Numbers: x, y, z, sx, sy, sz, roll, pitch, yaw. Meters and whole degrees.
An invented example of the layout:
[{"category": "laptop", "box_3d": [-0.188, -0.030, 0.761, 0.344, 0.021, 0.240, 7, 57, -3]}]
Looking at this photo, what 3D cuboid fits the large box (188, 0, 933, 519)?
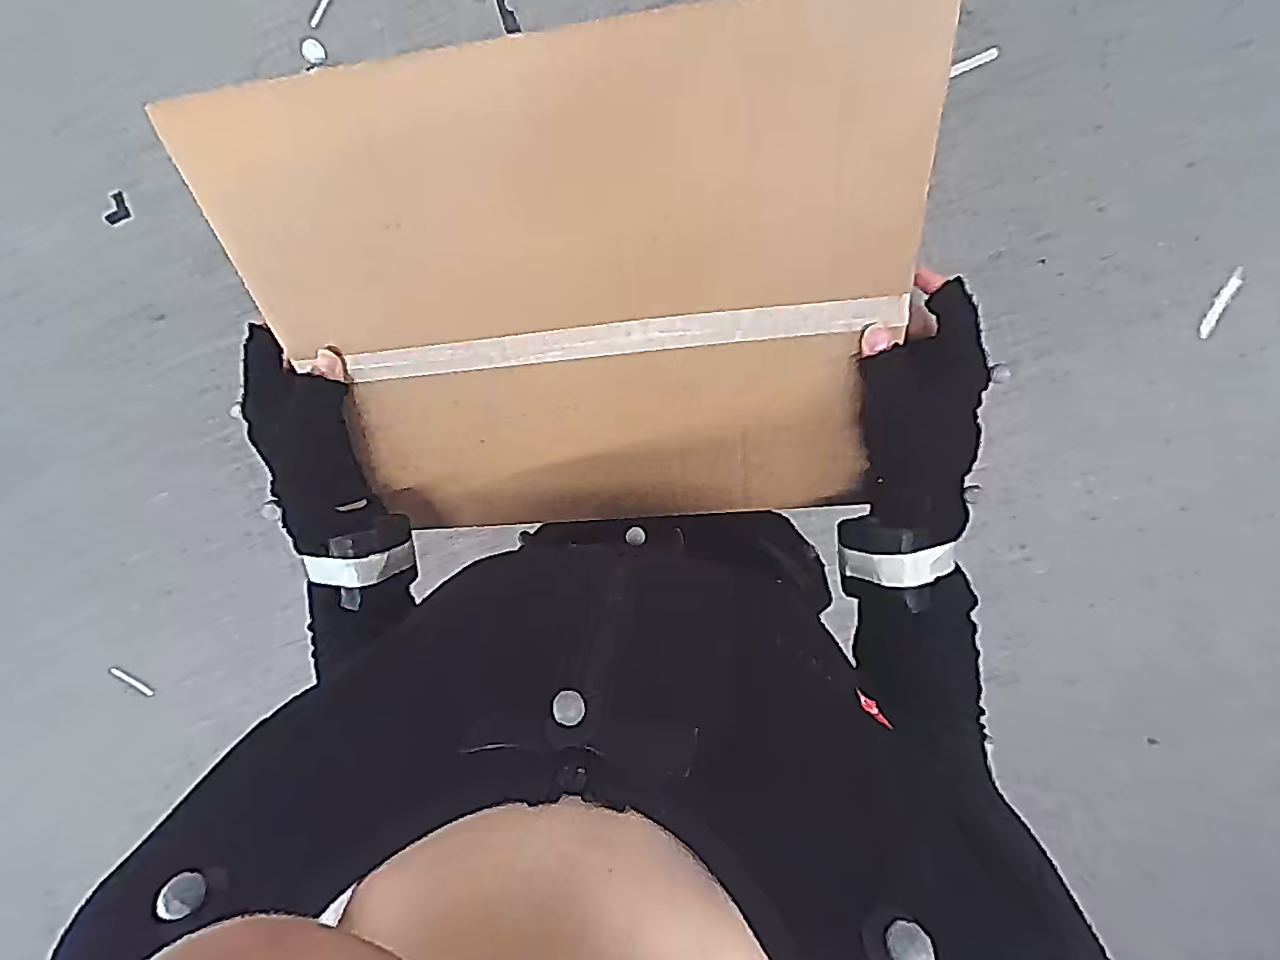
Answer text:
[{"category": "large box", "box_3d": [-0.031, -0.191, 0.480, 0.408, 0.320, 0.320, -4, 129, 8]}]
